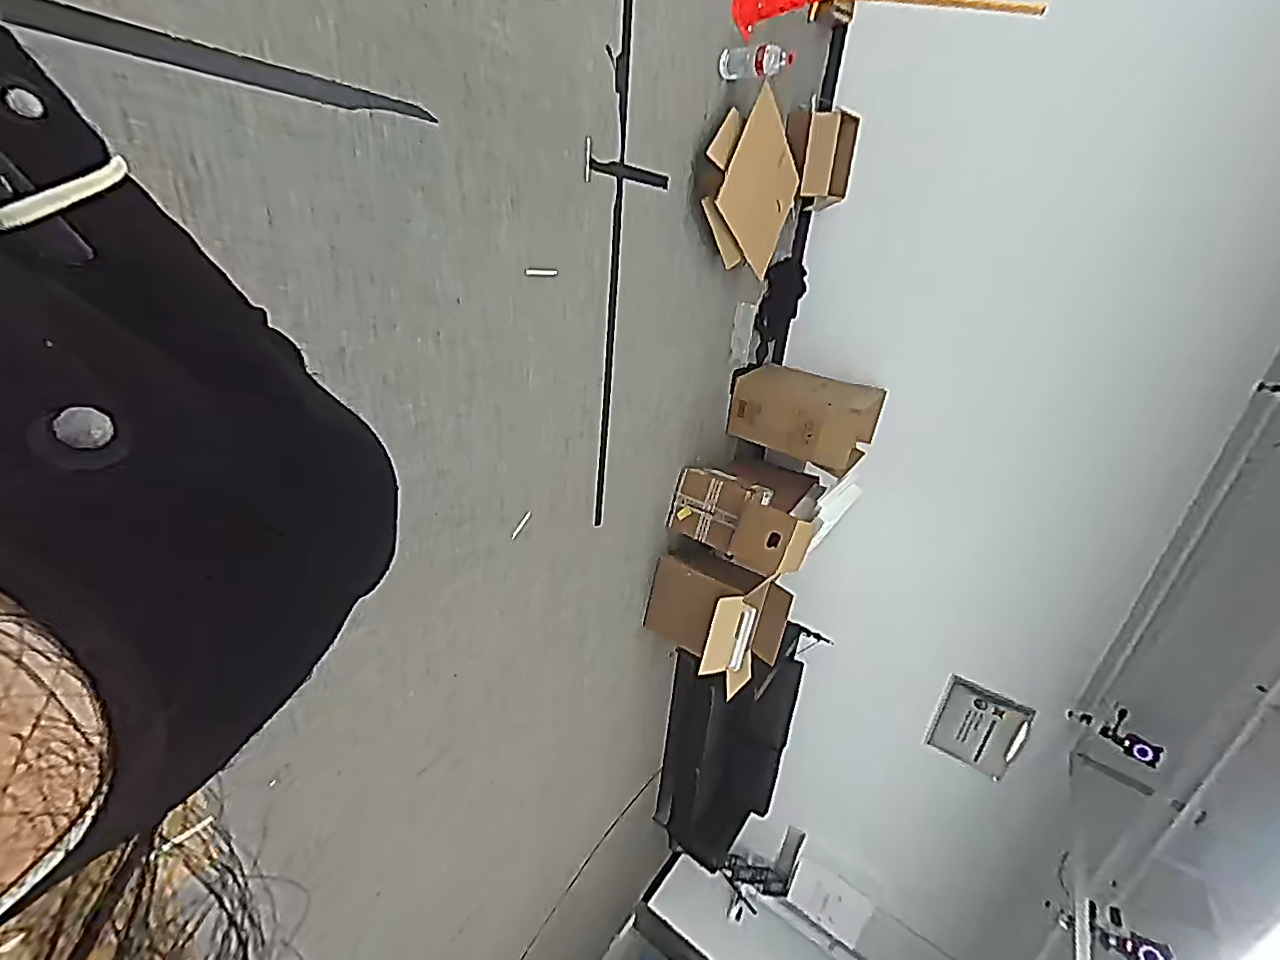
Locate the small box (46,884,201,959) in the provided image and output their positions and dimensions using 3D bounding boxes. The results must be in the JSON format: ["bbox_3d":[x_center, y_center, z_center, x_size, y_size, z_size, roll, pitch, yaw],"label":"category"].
[{"bbox_3d":[-0.925,0.899,0.985,0.168,0.176,0.179,-27,128,-49],"label":"small box"}]

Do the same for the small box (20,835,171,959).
[{"bbox_3d":[-1.058,0.859,1.068,0.179,0.176,0.168,-27,128,-48],"label":"small box"}]
